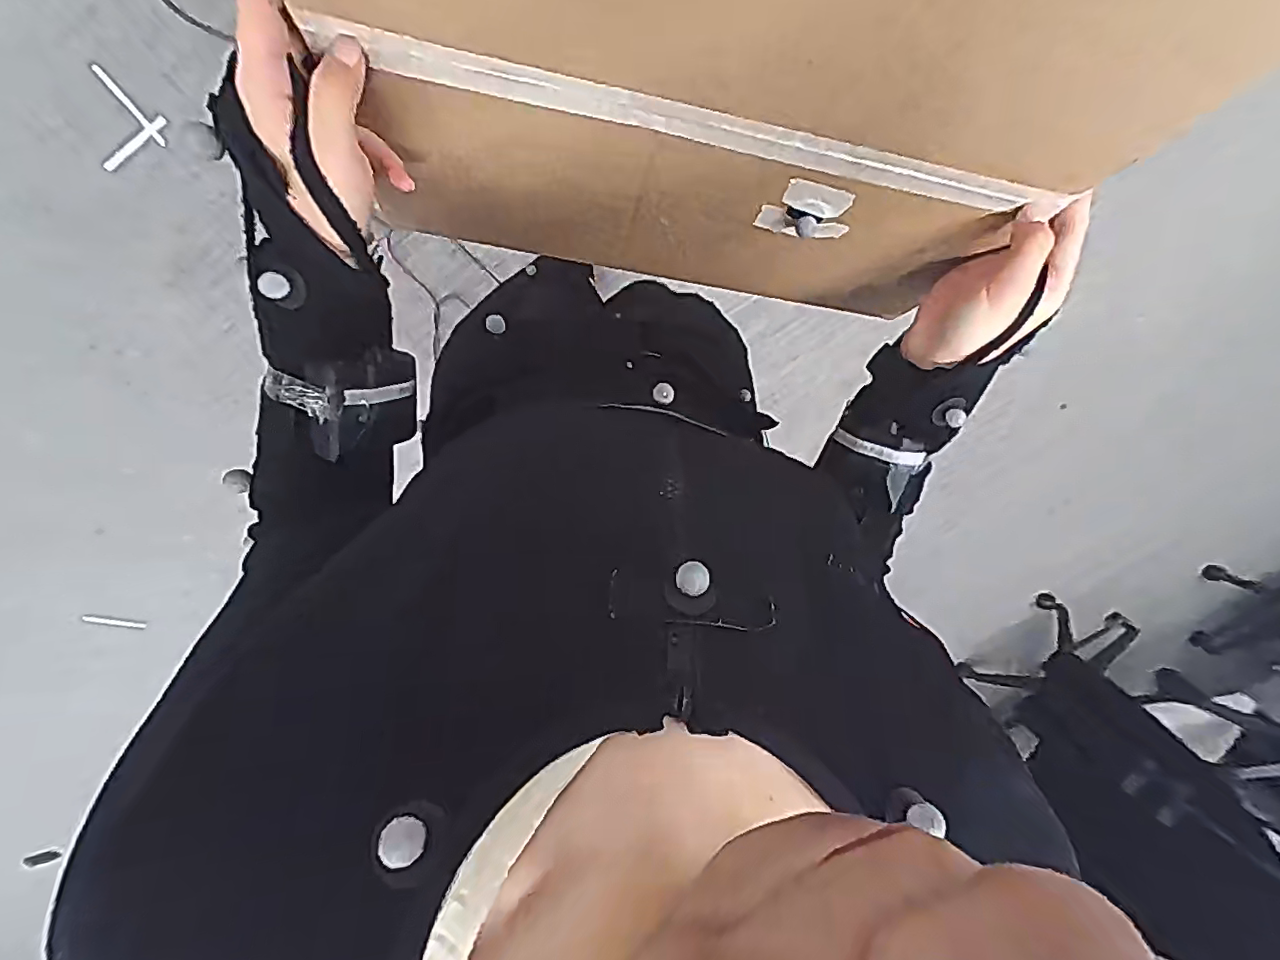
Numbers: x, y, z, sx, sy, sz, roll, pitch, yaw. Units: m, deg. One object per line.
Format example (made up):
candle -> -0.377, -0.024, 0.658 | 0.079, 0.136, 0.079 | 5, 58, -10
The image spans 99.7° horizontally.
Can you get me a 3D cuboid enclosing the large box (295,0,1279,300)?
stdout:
large box -> 0.048, -0.338, 0.302 | 0.408, 0.320, 0.320 | 5, 82, -10
